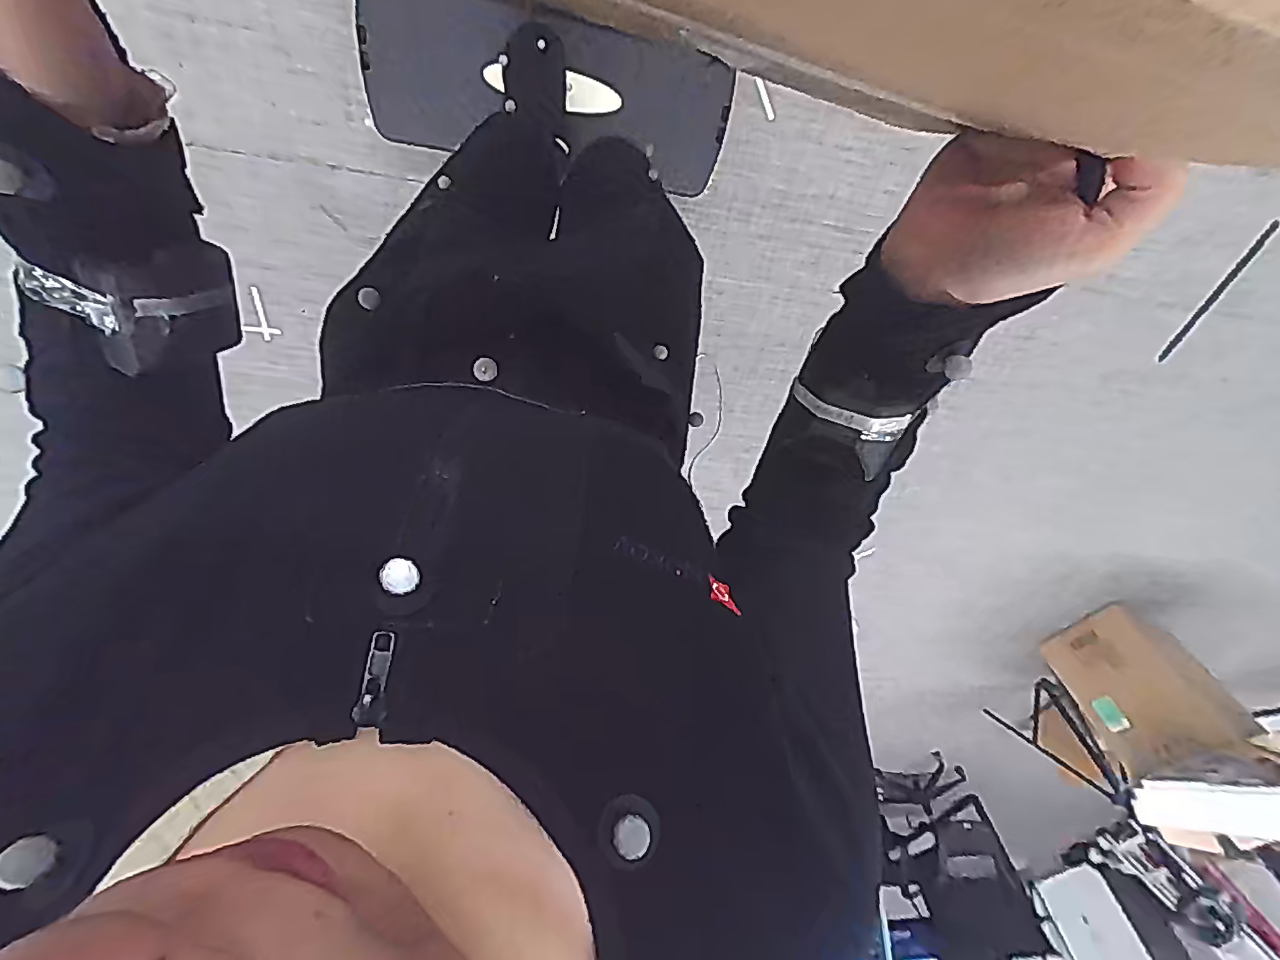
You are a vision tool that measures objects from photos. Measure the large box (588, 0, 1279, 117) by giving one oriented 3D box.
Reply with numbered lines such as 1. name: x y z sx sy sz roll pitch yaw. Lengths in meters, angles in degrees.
1. large box: -0.001 -0.303 0.093 0.408 0.320 0.320 11 126 -8
